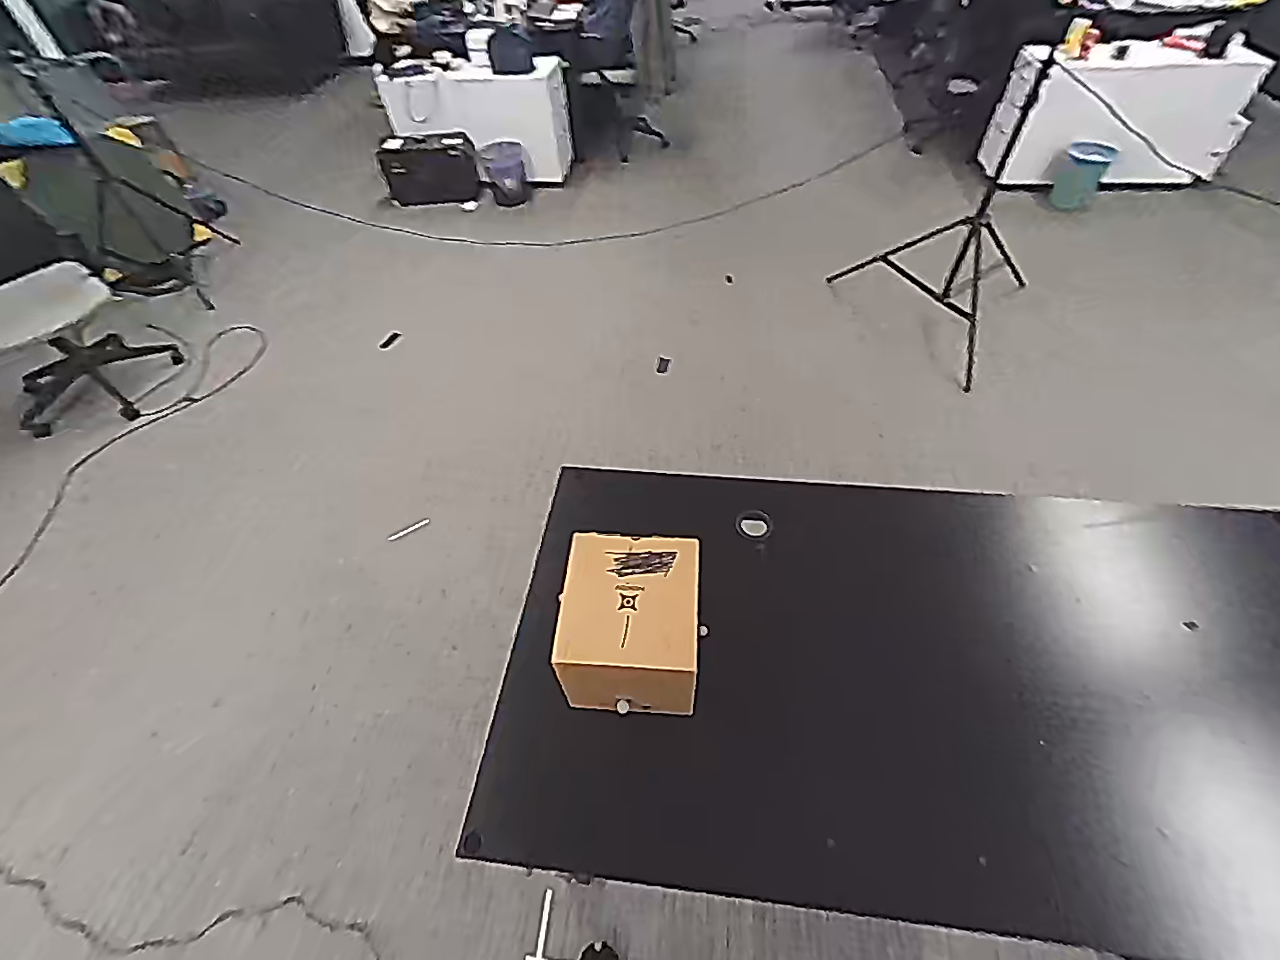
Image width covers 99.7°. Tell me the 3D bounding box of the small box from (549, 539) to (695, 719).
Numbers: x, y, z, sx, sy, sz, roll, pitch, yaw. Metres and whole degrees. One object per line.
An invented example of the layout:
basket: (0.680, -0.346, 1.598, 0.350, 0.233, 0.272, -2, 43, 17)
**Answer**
small box: (-0.014, 0.199, 0.720, 0.168, 0.176, 0.179, 2, 52, 5)
